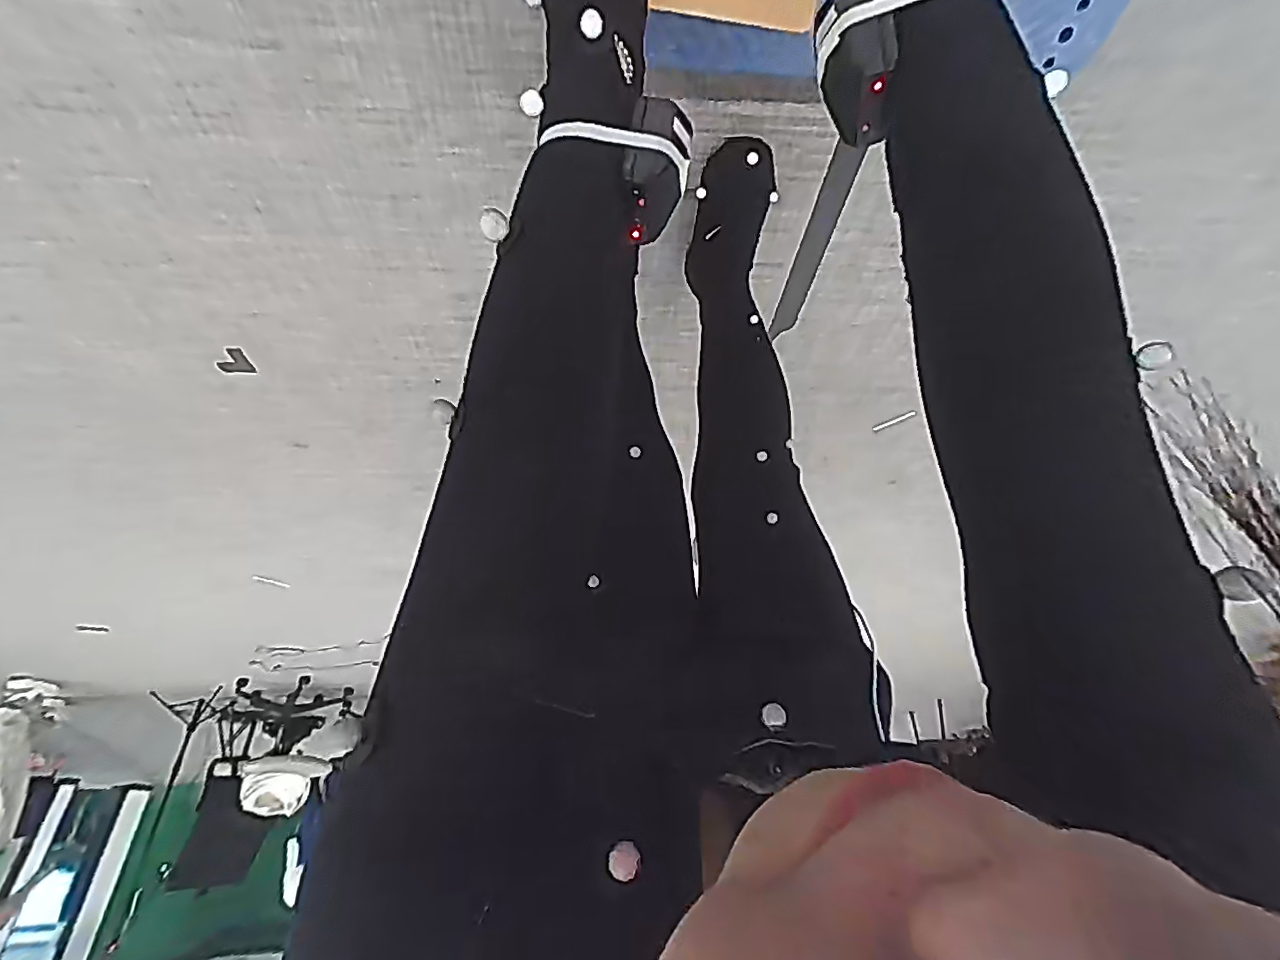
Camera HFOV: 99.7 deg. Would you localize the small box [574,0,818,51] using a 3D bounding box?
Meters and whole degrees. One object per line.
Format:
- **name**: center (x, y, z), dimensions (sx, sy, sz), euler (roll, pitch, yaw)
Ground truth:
- **small box**: center (0.046, -0.441, 0.376), dimensions (0.179, 0.176, 0.168), euler (3, 146, -8)
